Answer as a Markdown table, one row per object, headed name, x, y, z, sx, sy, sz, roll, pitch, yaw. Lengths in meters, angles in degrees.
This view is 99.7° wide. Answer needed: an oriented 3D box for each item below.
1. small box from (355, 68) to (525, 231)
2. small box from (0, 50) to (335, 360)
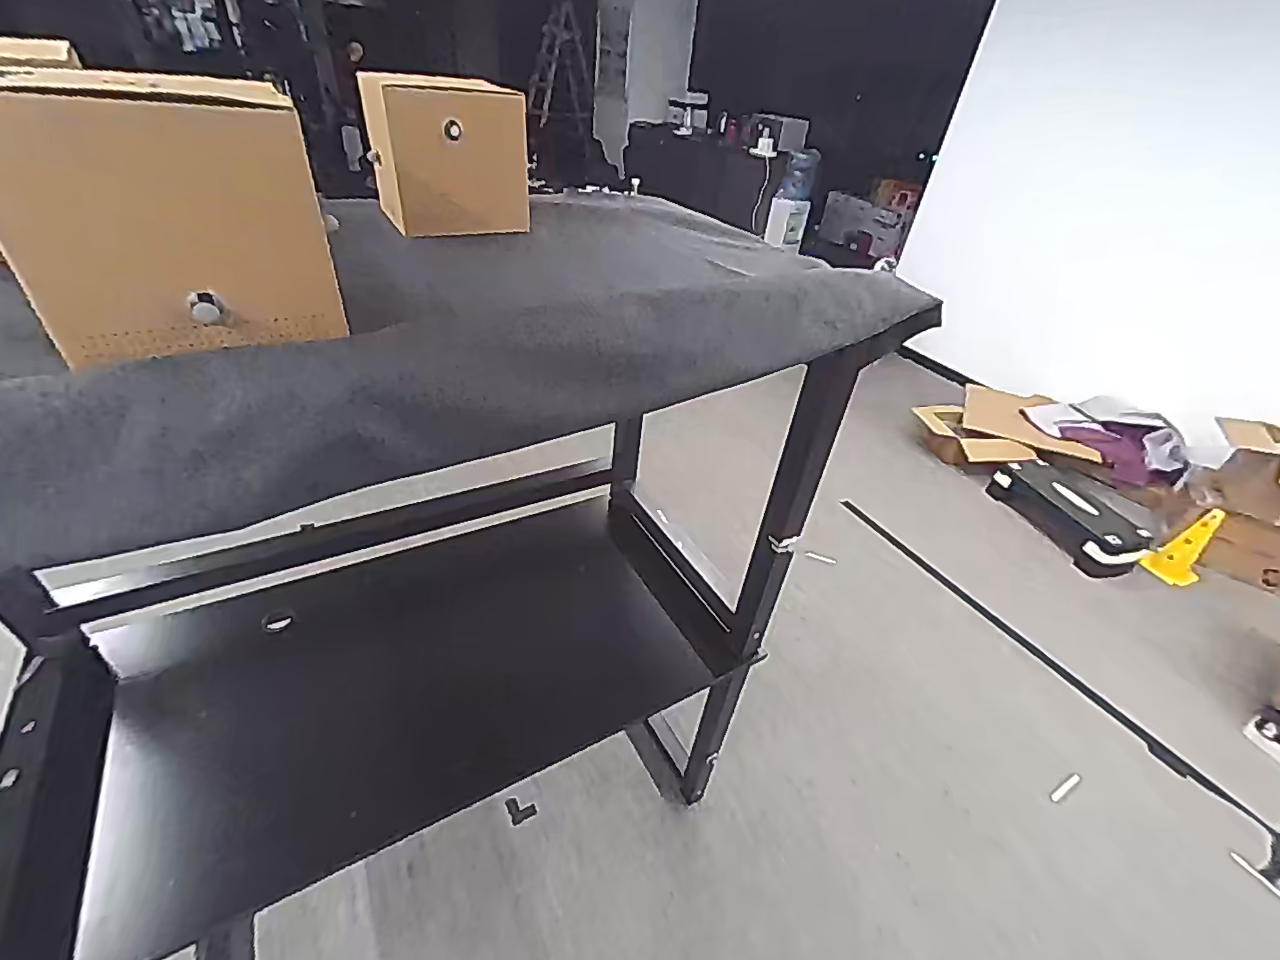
| name | x | y | z | sx | sy | sz | roll | pitch | yaw |
| --- | --- | --- | --- | --- | --- | --- | --- | --- | --- |
| small box | -0.268 | -0.452 | 0.744 | 0.179 | 0.176 | 0.168 | -16 | 43 | -27 |
| small box | -0.348 | -0.206 | 0.410 | 0.179 | 0.176 | 0.168 | -16 | 41 | -28 |
